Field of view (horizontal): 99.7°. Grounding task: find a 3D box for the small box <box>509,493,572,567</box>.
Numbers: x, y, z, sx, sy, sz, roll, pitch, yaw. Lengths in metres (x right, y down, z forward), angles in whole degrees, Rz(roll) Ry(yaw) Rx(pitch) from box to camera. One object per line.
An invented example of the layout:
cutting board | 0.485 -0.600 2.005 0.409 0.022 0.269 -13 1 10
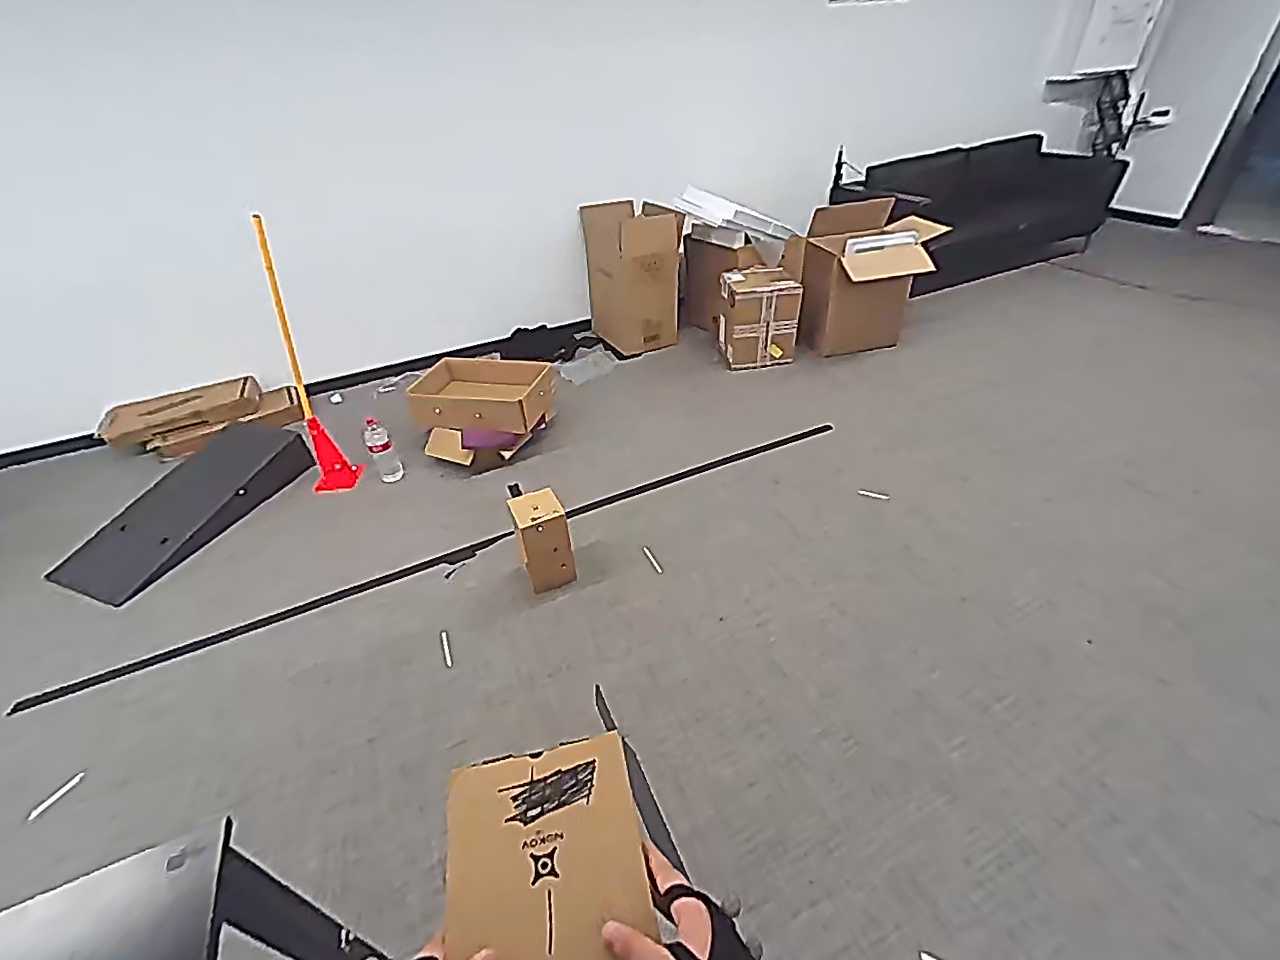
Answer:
small box | -0.358 0.180 1.946 0.168 0.176 0.179 -19 38 -19

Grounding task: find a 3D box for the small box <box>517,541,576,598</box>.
small box | -0.349 0.312 2.045 0.179 0.176 0.168 -19 38 -17

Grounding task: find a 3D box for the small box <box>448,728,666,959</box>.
small box | -0.077 0.373 0.515 0.168 0.176 0.179 -10 44 -9
